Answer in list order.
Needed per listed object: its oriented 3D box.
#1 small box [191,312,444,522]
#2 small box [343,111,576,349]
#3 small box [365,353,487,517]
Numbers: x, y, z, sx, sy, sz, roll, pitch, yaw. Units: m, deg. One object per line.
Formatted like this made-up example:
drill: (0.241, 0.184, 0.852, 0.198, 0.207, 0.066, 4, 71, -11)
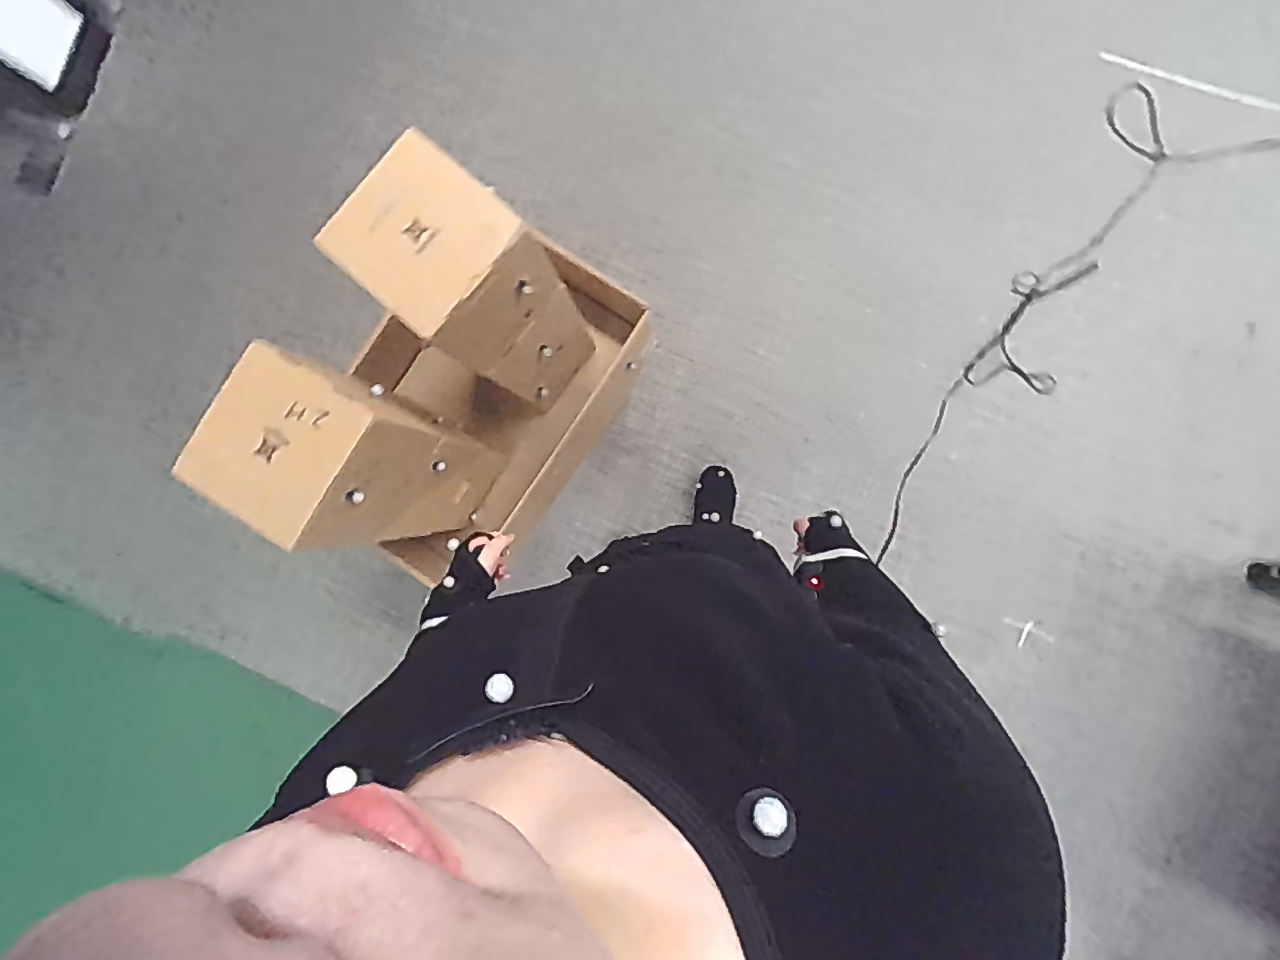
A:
small box: (-0.377, -0.065, 0.668, 0.168, 0.176, 0.179, 36, 90, 4)
small box: (-0.201, -0.281, 0.659, 0.179, 0.176, 0.168, 45, 92, 6)
small box: (-0.367, -0.059, 0.833, 0.168, 0.176, 0.179, 36, 90, 5)
